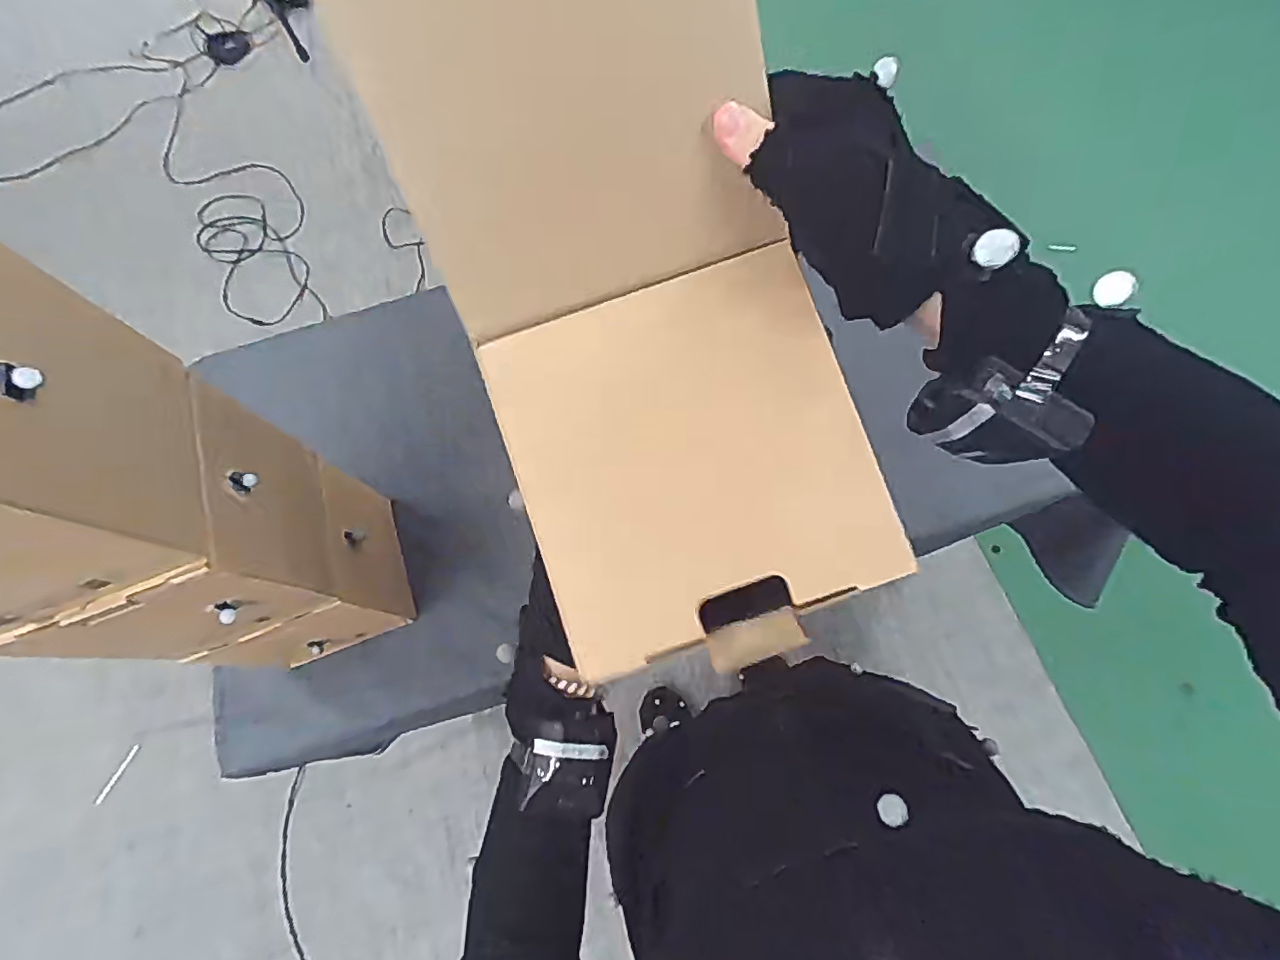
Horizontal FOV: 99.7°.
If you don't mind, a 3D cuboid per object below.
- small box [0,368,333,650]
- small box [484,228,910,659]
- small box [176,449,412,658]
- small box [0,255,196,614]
[{"bbox_3d":[-0.401,0.038,0.475,0.168,0.176,0.179,-20,70,-4],"label":"small box"},{"bbox_3d":[0.026,-0.012,0.336,0.168,0.176,0.179,-17,84,2],"label":"small box"},{"bbox_3d":[-0.392,0.094,0.628,0.168,0.176,0.179,-21,71,-4],"label":"small box"},{"bbox_3d":[-0.413,-0.024,0.324,0.168,0.176,0.179,-21,70,-5],"label":"small box"}]
